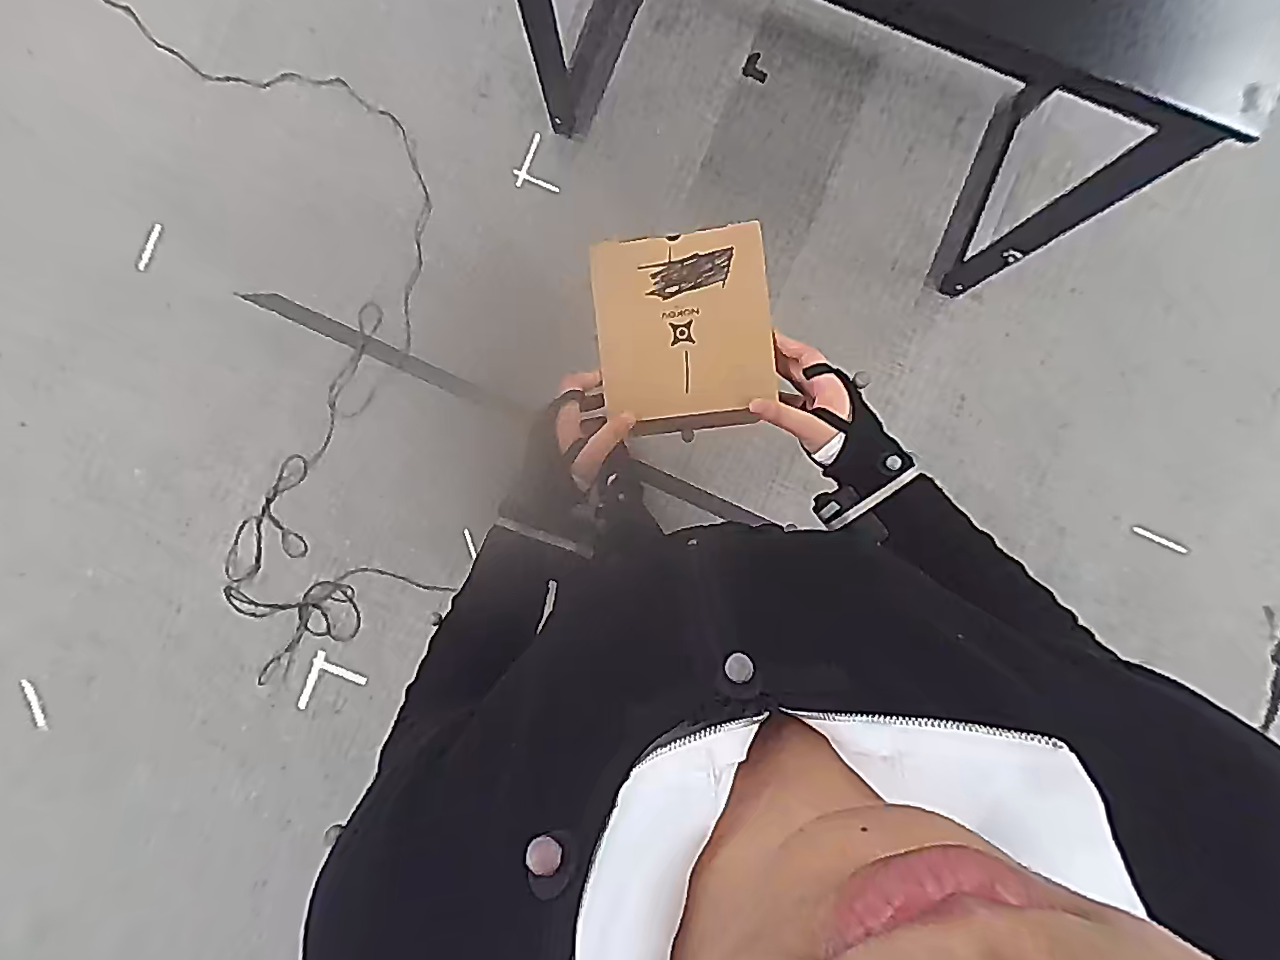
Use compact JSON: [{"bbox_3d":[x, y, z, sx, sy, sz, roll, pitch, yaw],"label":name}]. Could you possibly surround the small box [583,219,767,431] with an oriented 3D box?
[{"bbox_3d":[0.038,-0.155,0.598,0.168,0.176,0.179,-6,90,6],"label":"small box"}]
